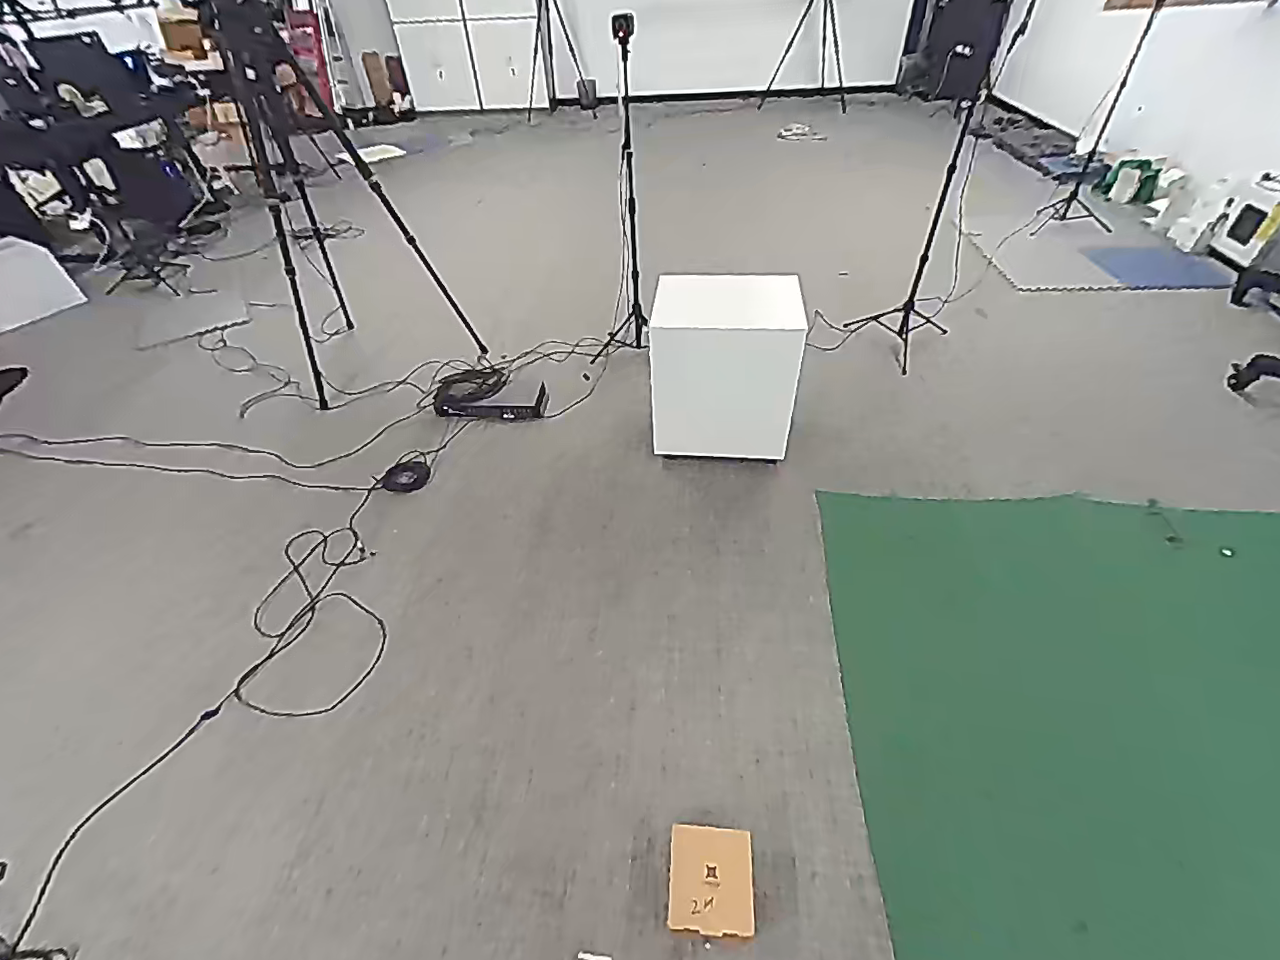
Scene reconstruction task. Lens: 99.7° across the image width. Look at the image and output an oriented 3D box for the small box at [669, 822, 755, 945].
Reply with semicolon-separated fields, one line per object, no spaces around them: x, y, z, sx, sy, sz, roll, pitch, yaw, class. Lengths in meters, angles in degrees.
0.149;0.852;1.143;0.168;0.176;0.179;2;45;7;small box
